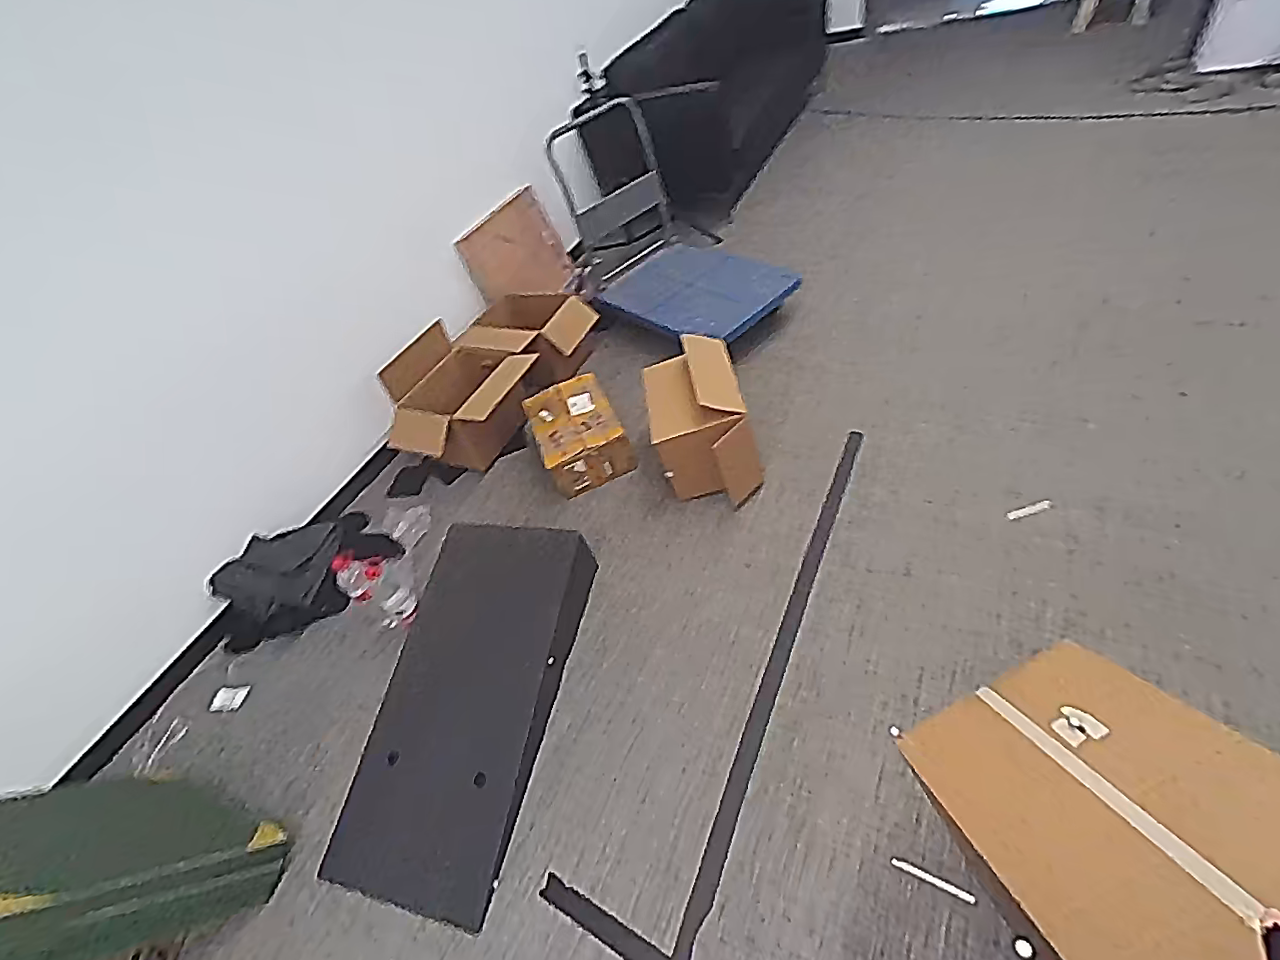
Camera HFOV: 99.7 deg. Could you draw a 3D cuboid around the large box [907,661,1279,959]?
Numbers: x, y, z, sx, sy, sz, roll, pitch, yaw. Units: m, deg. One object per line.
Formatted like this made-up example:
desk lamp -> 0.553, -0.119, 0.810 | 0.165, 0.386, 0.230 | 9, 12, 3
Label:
large box -> 0.631, 0.507, 0.664 | 0.320, 0.320, 0.408 | -30, 7, 3
